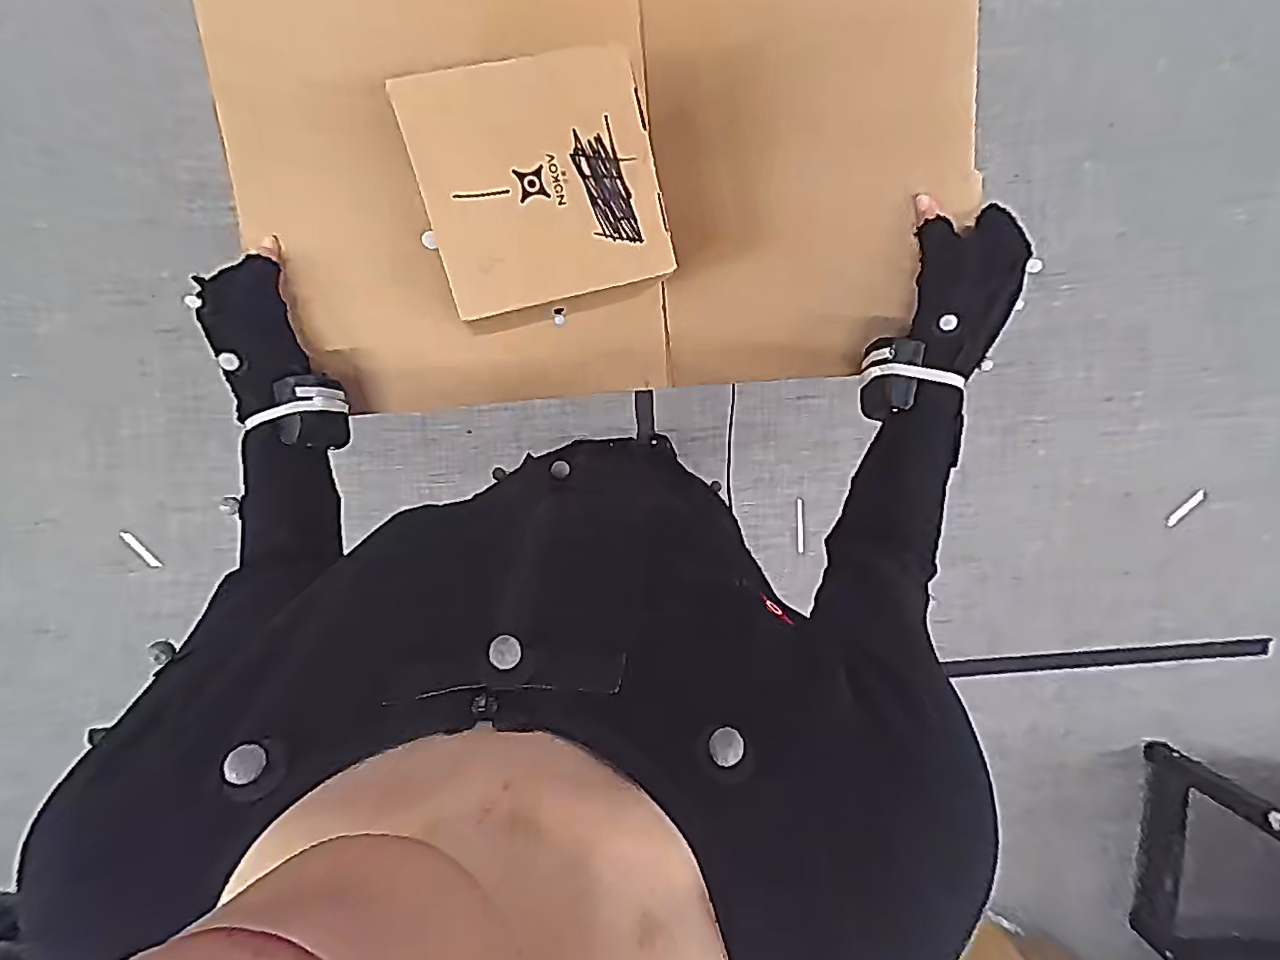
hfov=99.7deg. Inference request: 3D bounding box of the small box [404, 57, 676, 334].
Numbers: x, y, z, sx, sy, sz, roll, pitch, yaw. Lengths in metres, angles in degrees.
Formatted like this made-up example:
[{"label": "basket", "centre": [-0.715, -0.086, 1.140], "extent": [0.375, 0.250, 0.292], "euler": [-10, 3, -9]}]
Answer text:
[{"label": "small box", "centre": [-0.086, -0.236, 0.489], "extent": [0.179, 0.176, 0.168], "euler": [-16, 103, -9]}]
